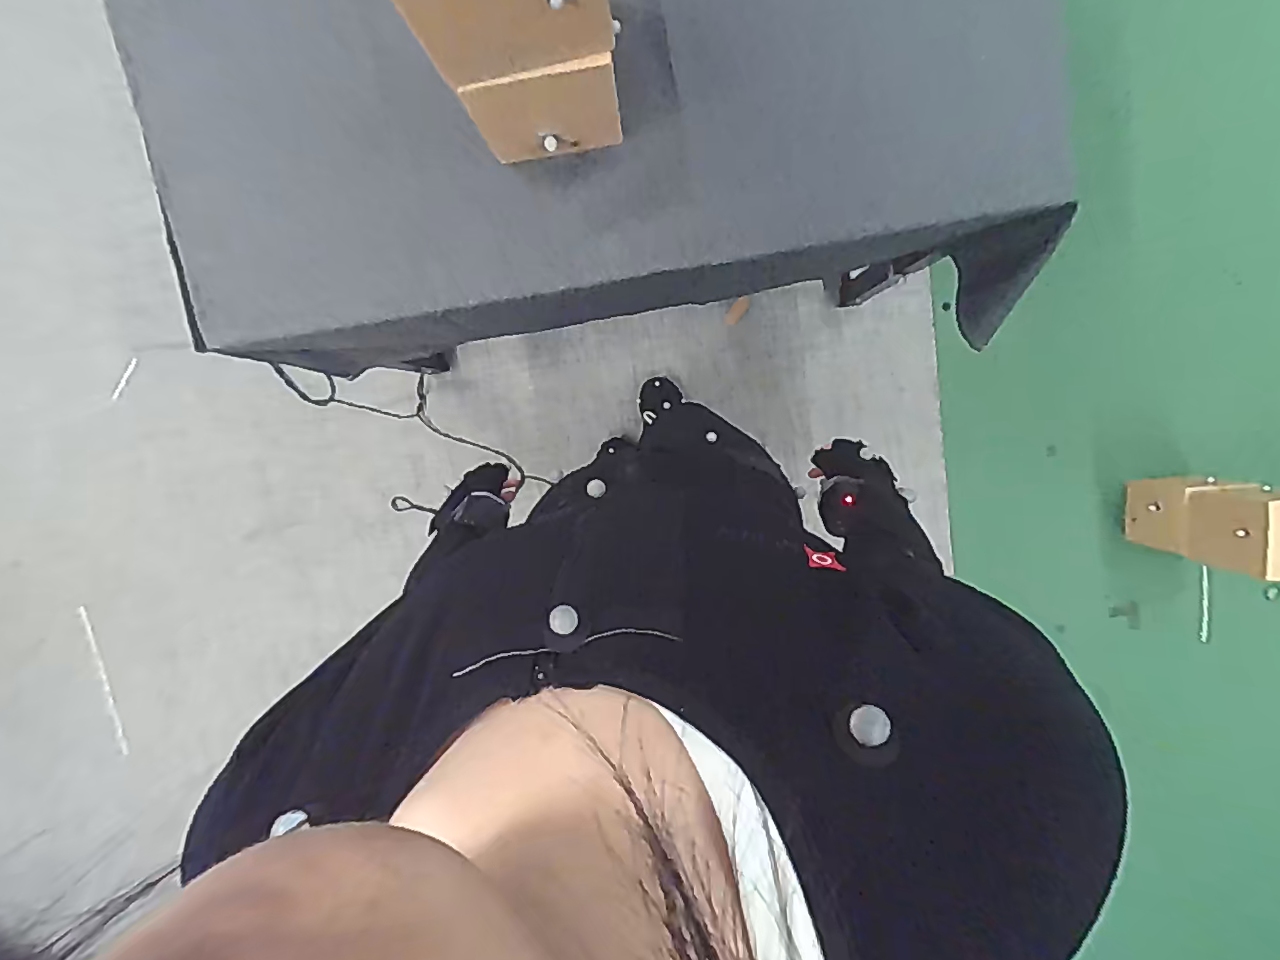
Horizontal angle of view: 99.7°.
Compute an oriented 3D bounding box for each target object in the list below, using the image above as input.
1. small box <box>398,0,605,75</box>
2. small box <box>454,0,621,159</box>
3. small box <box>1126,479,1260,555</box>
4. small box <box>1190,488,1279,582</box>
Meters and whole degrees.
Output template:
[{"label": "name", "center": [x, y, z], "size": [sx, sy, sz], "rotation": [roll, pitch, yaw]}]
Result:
[{"label": "small box", "center": [-0.128, -0.491, 0.456], "size": [0.179, 0.176, 0.168], "rotation": [-10, 95, 4]}, {"label": "small box", "center": [-0.117, -0.507, 0.618], "size": [0.168, 0.176, 0.179], "rotation": [-8, 97, 3]}, {"label": "small box", "center": [1.381, 0.088, 1.363], "size": [0.179, 0.176, 0.168], "rotation": [-3, 96, 2]}, {"label": "small box", "center": [1.386, 0.113, 1.200], "size": [0.168, 0.176, 0.179], "rotation": [-4, 97, 2]}]
